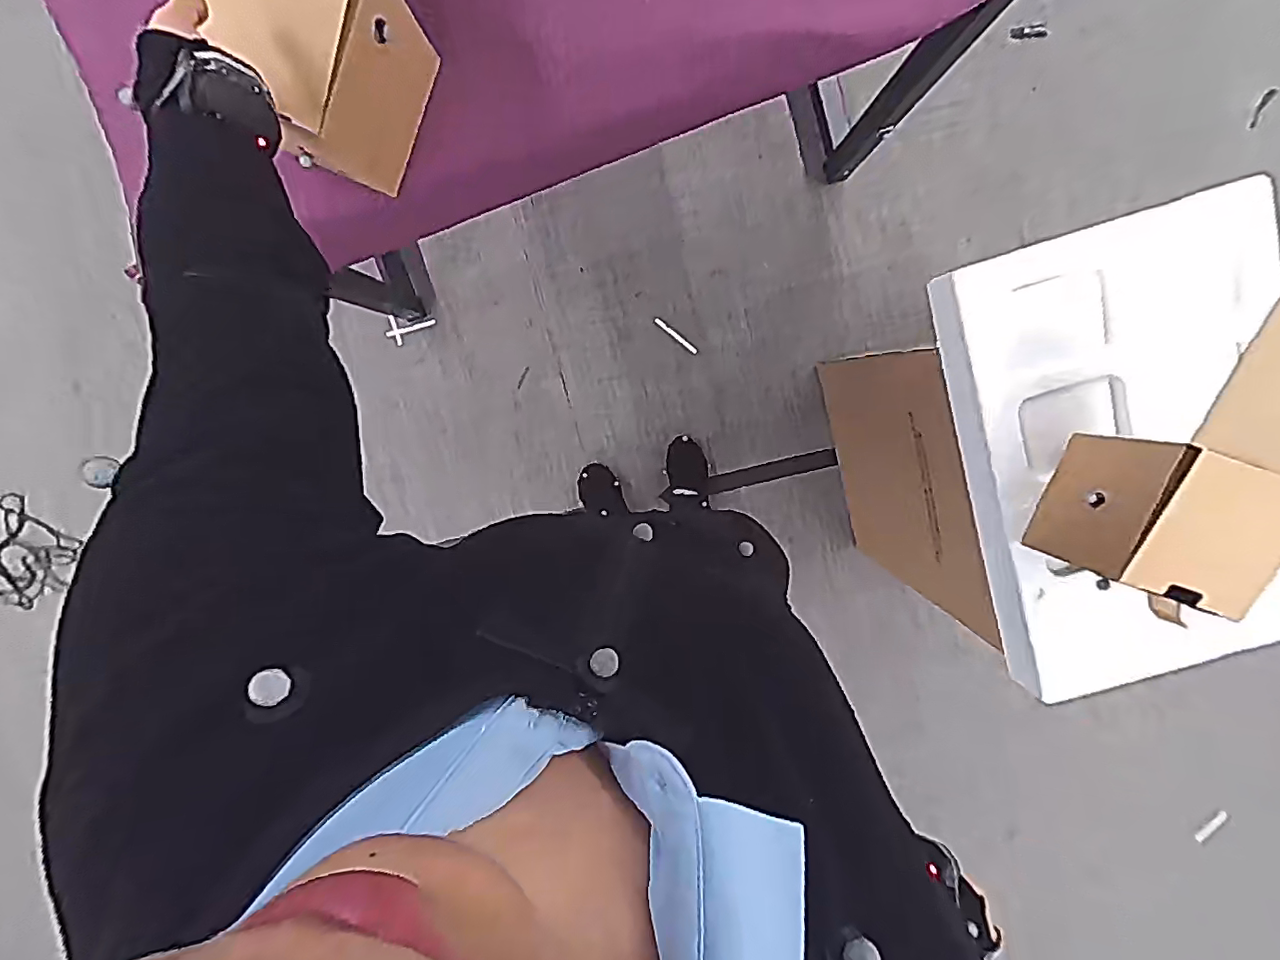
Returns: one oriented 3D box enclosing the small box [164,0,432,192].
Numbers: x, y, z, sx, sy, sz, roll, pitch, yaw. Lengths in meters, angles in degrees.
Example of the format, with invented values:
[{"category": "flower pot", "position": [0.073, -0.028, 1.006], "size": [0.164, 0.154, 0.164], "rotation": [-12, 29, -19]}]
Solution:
[{"category": "small box", "position": [-0.356, -0.463, 0.599], "size": [0.168, 0.176, 0.179], "rotation": [23, 97, -2]}]
